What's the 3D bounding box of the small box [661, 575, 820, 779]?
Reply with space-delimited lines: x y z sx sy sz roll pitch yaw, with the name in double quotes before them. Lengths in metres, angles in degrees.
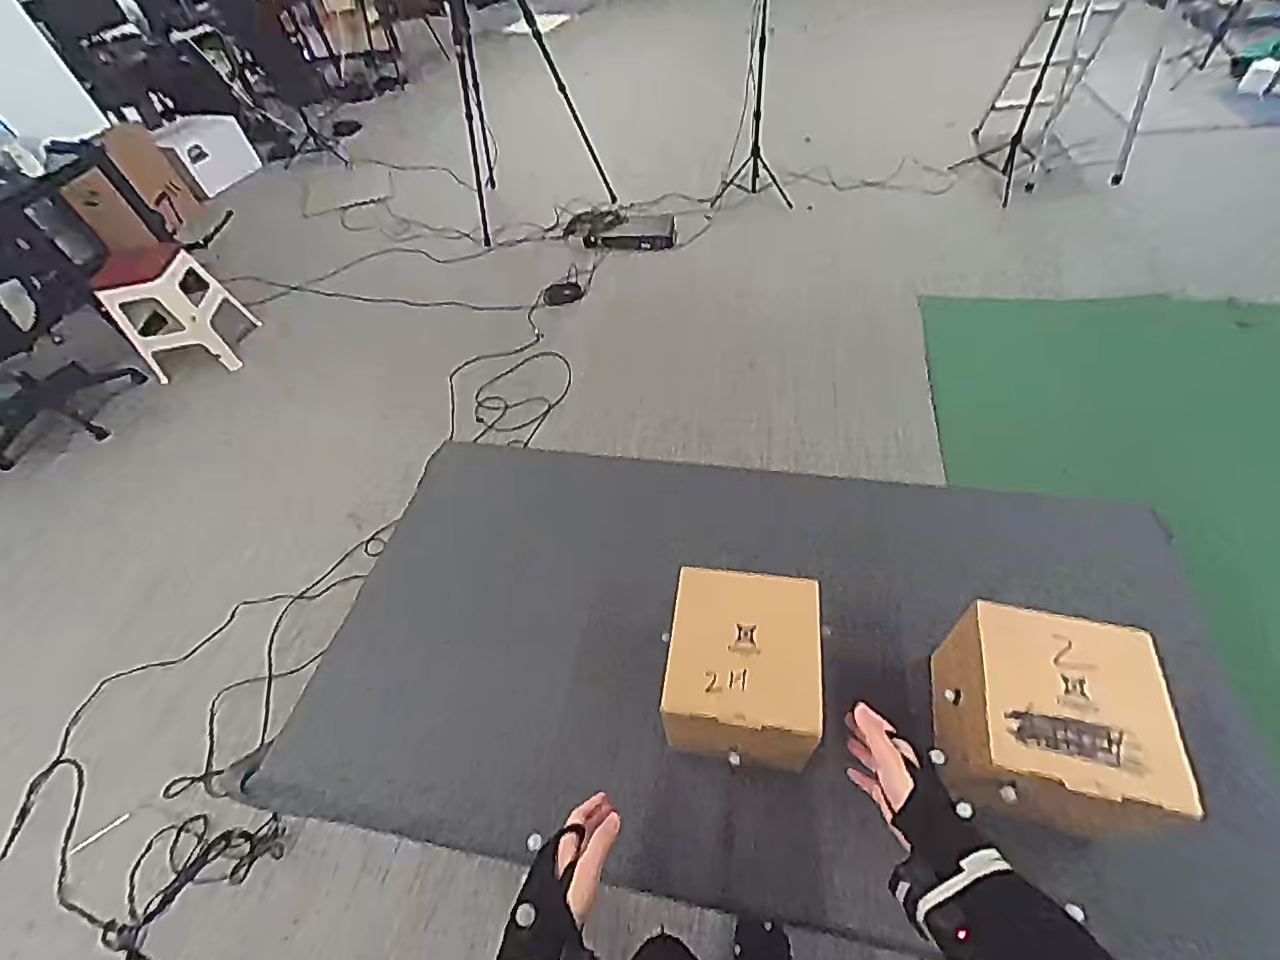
"small box" 0.123 0.242 0.665 0.168 0.176 0.179 5 51 11
